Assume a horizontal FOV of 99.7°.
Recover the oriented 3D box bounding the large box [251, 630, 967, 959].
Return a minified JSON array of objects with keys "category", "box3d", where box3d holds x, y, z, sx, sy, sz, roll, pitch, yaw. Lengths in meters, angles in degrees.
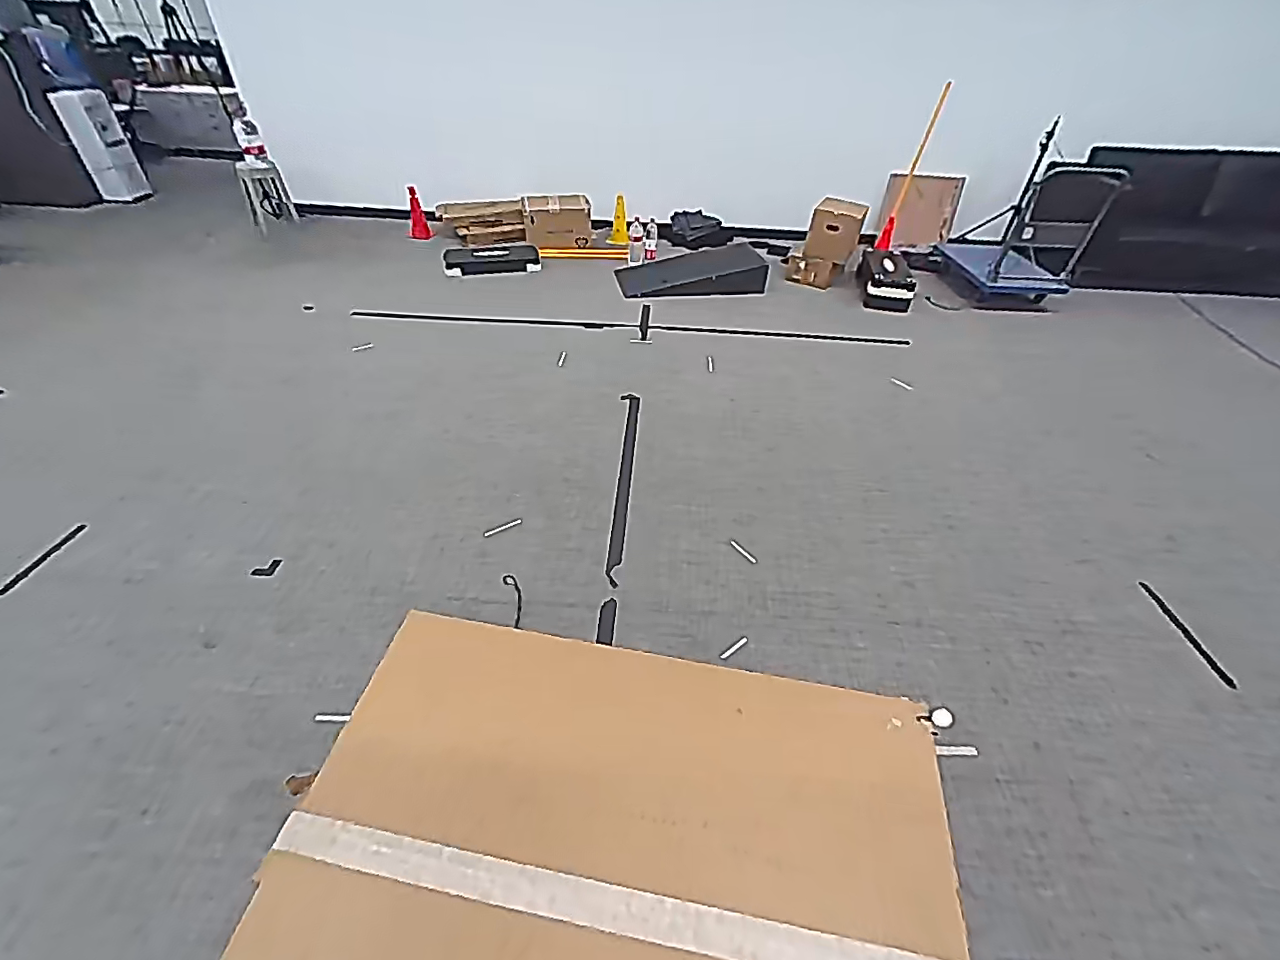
[{"category":"large box","box3d":[-0.016,0.358,0.426,0.408,0.320,0.320,8,48,6]}]
